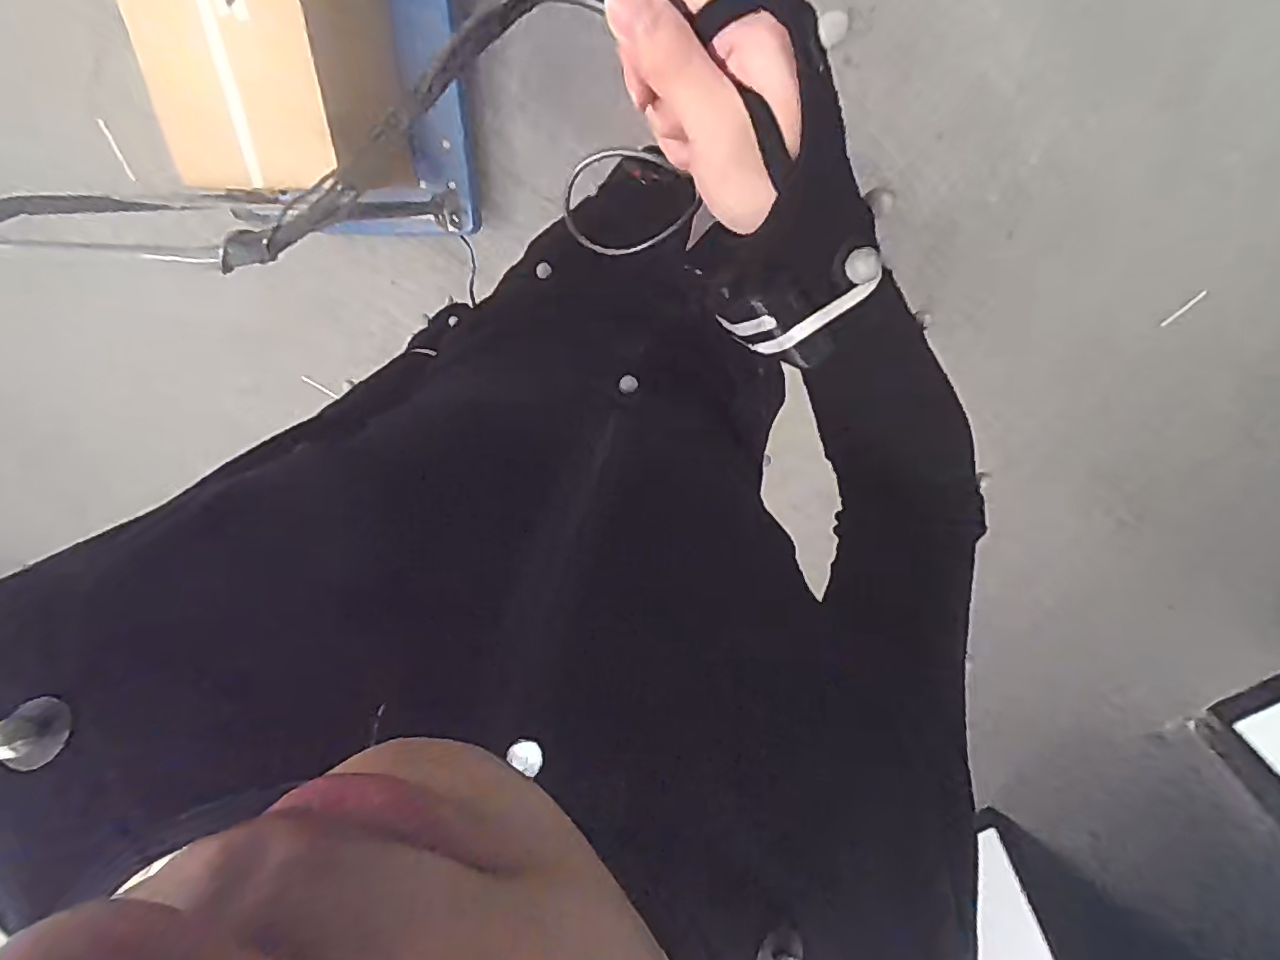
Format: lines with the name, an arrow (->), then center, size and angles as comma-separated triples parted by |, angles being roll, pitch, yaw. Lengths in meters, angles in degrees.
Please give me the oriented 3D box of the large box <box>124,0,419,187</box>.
large box -> -0.661, -0.779, 1.010 | 0.320, 0.320, 0.408 | 3, 119, 4
